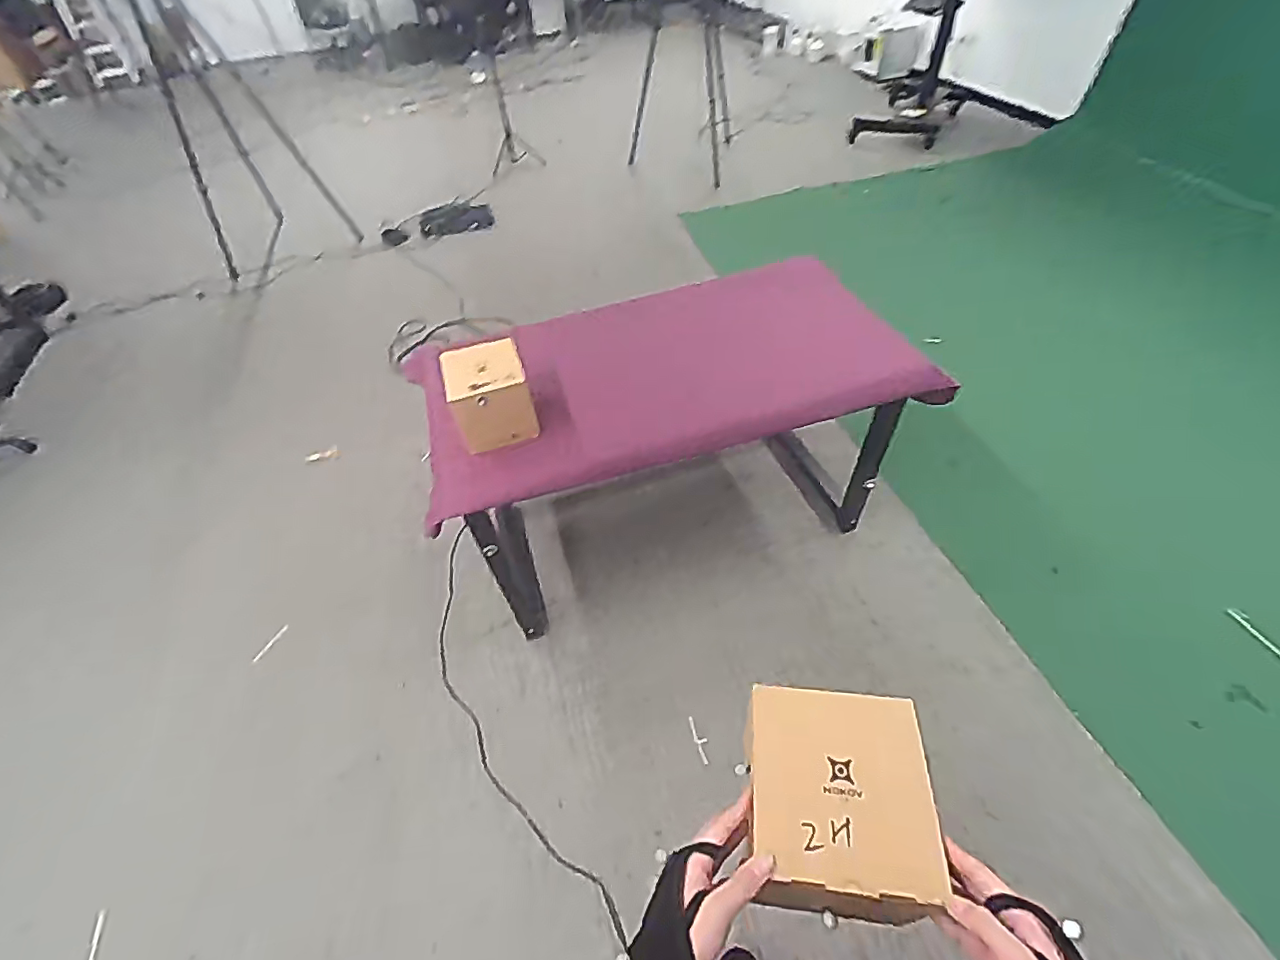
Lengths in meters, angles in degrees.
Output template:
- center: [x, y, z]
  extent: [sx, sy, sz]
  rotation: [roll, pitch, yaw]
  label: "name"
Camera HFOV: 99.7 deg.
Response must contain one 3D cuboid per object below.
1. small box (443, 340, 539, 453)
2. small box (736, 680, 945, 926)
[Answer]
- center: [-0.341, -0.191, 1.243]
  extent: [0.168, 0.176, 0.179]
  rotation: [-17, 50, -10]
  label: "small box"
- center: [0.189, 0.338, 0.571]
  extent: [0.168, 0.176, 0.179]
  rotation: [2, 46, 9]
  label: "small box"
